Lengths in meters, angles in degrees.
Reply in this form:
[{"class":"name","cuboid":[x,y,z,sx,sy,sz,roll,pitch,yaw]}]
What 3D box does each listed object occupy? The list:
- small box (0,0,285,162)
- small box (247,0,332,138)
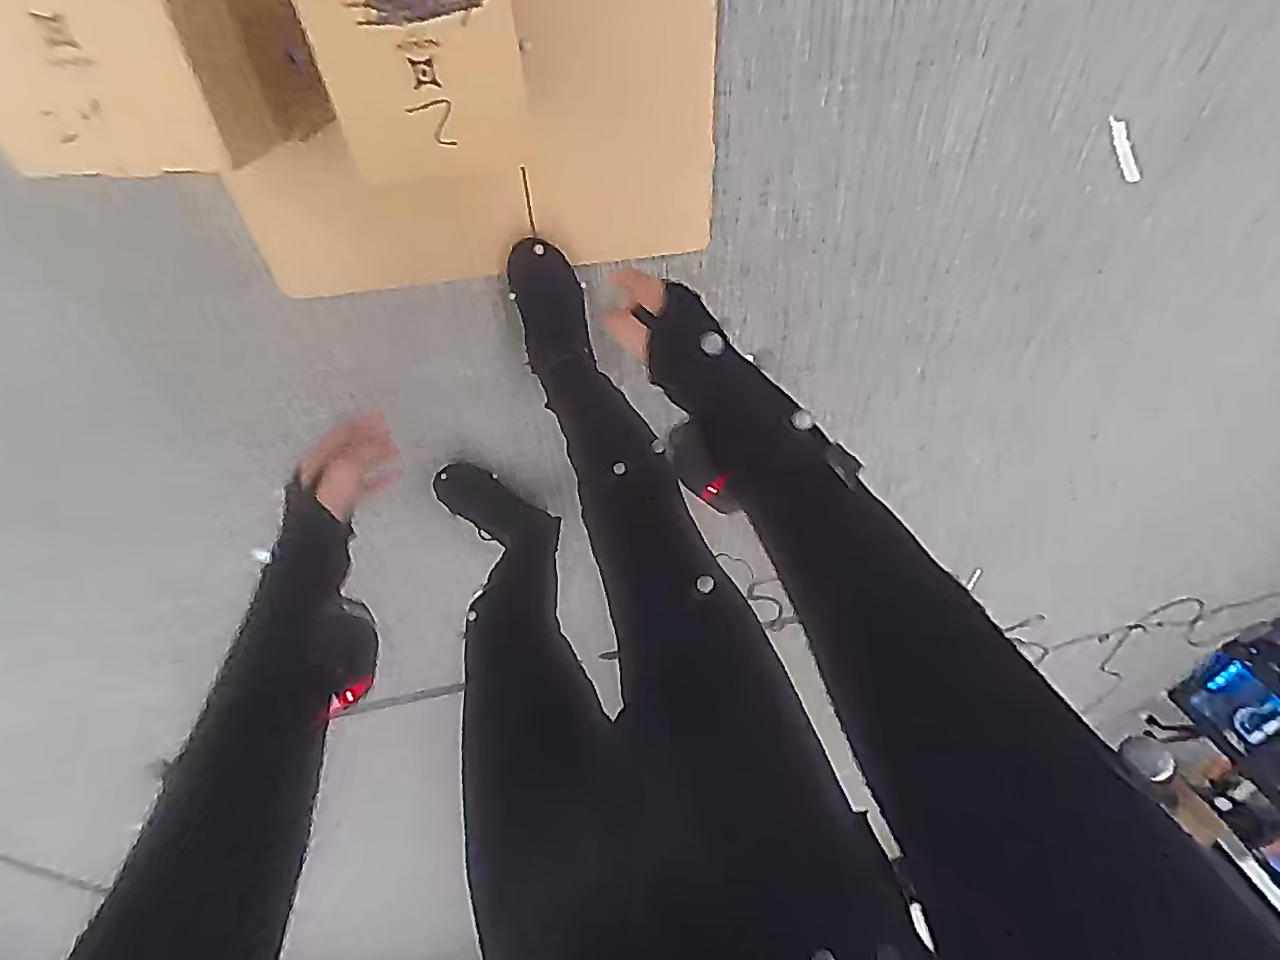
[{"class":"small box","cuboid":[-0.442,-0.385,0.458,0.168,0.176,0.179,-6,131,-8]},{"class":"small box","cuboid":[-0.465,-0.488,0.587,0.168,0.176,0.179,-8,132,-8]}]
